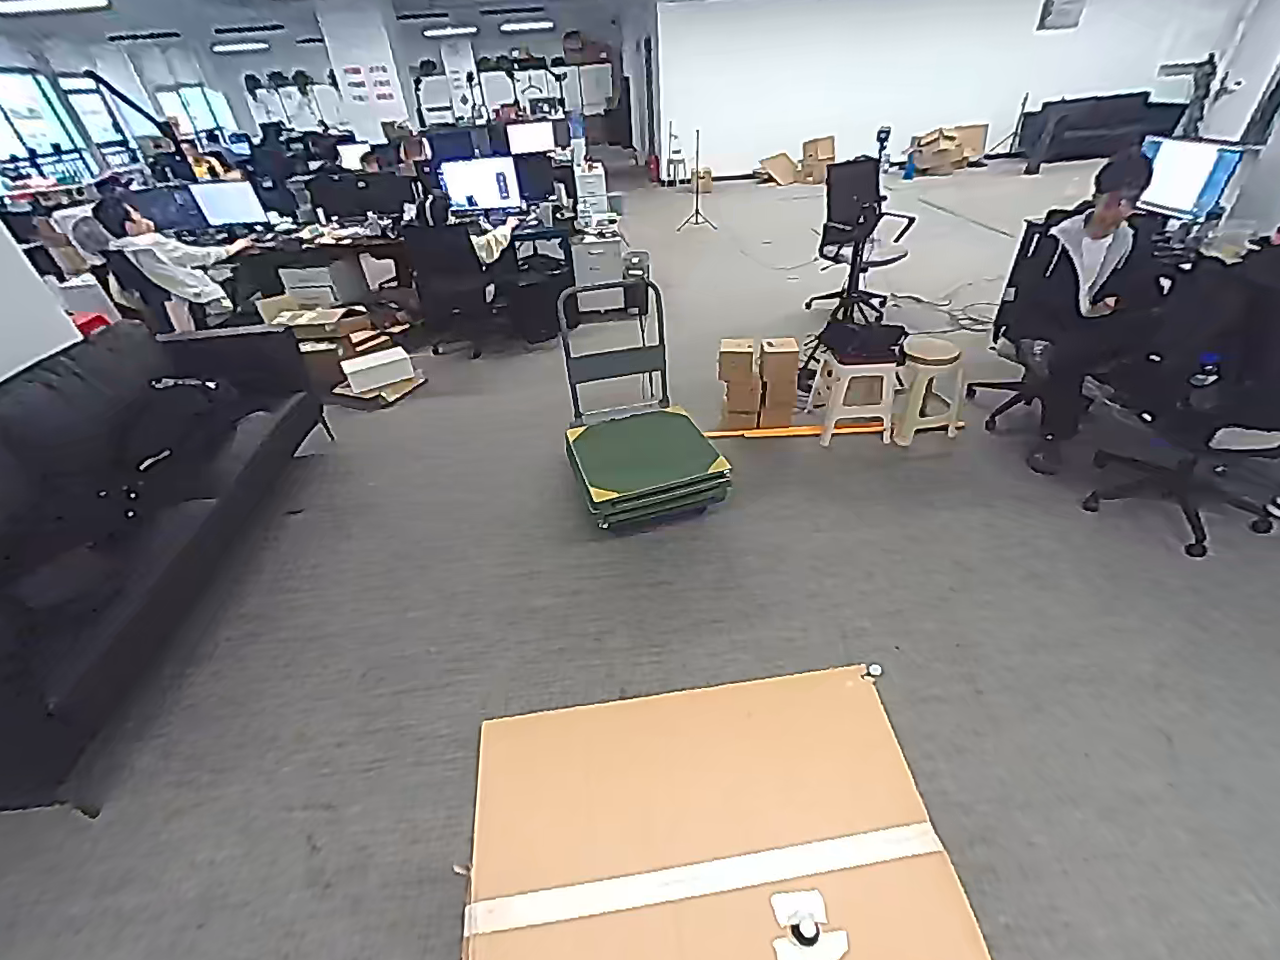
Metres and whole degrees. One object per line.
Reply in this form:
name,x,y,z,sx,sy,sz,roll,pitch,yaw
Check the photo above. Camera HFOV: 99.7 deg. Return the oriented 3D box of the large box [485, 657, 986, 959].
large box,0.067,0.431,0.587,0.408,0.320,0.320,-7,51,-4
